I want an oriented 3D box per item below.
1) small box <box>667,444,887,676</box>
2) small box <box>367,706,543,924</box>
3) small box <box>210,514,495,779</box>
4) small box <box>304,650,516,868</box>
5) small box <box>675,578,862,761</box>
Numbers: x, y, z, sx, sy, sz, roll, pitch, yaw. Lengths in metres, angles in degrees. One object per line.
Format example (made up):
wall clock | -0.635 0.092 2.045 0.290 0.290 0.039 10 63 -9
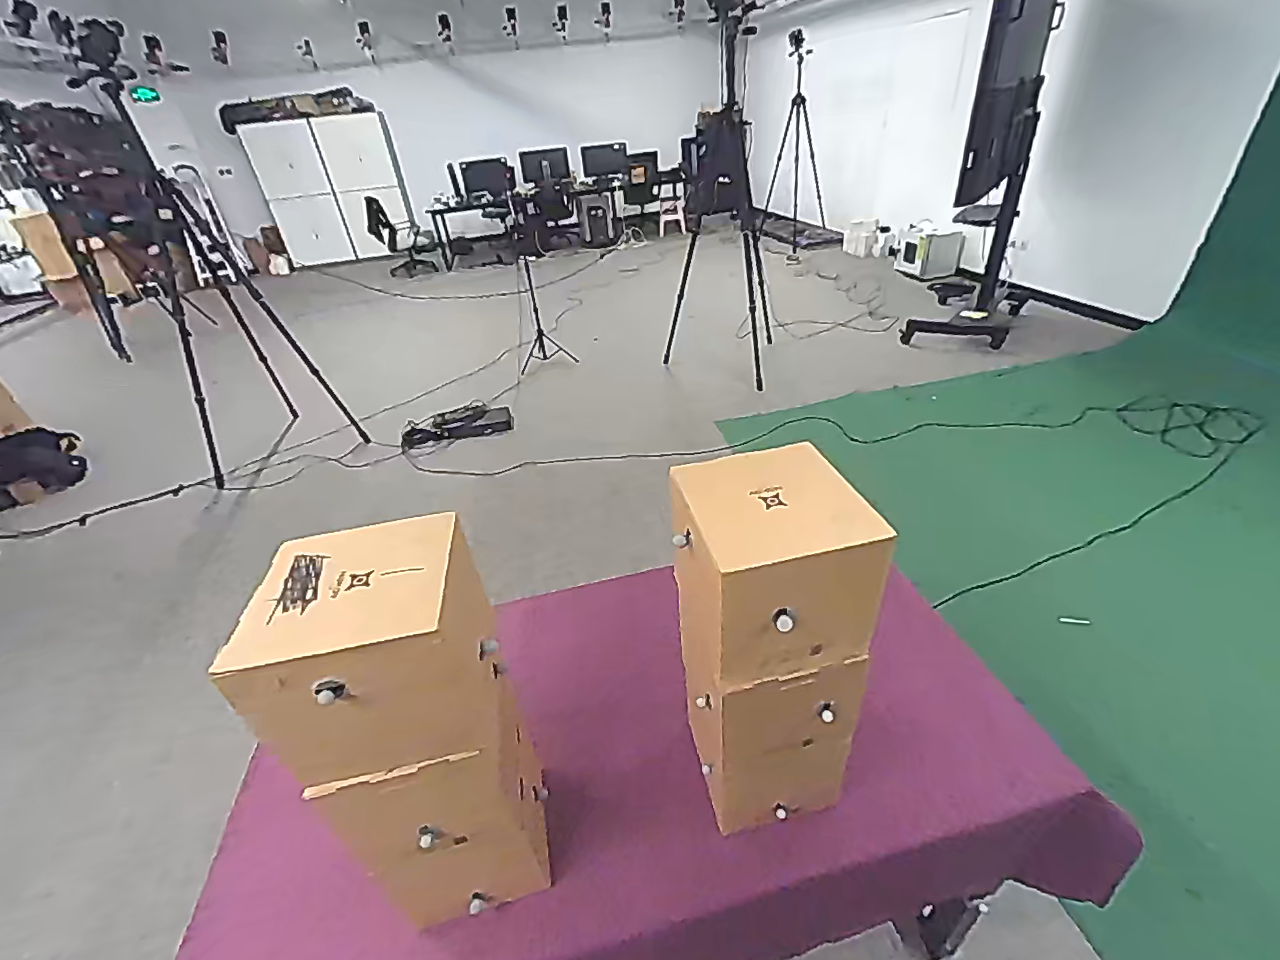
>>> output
small box | 0.132 0.087 0.582 0.168 0.176 0.179 -11 34 -8
small box | -0.228 0.436 0.710 0.179 0.176 0.168 -12 34 -9
small box | -0.252 0.160 0.530 0.179 0.176 0.168 -10 34 -7
small box | -0.243 0.297 0.621 0.168 0.176 0.179 -12 35 -7
small box | 0.148 0.220 0.673 0.168 0.176 0.179 -11 35 -8
